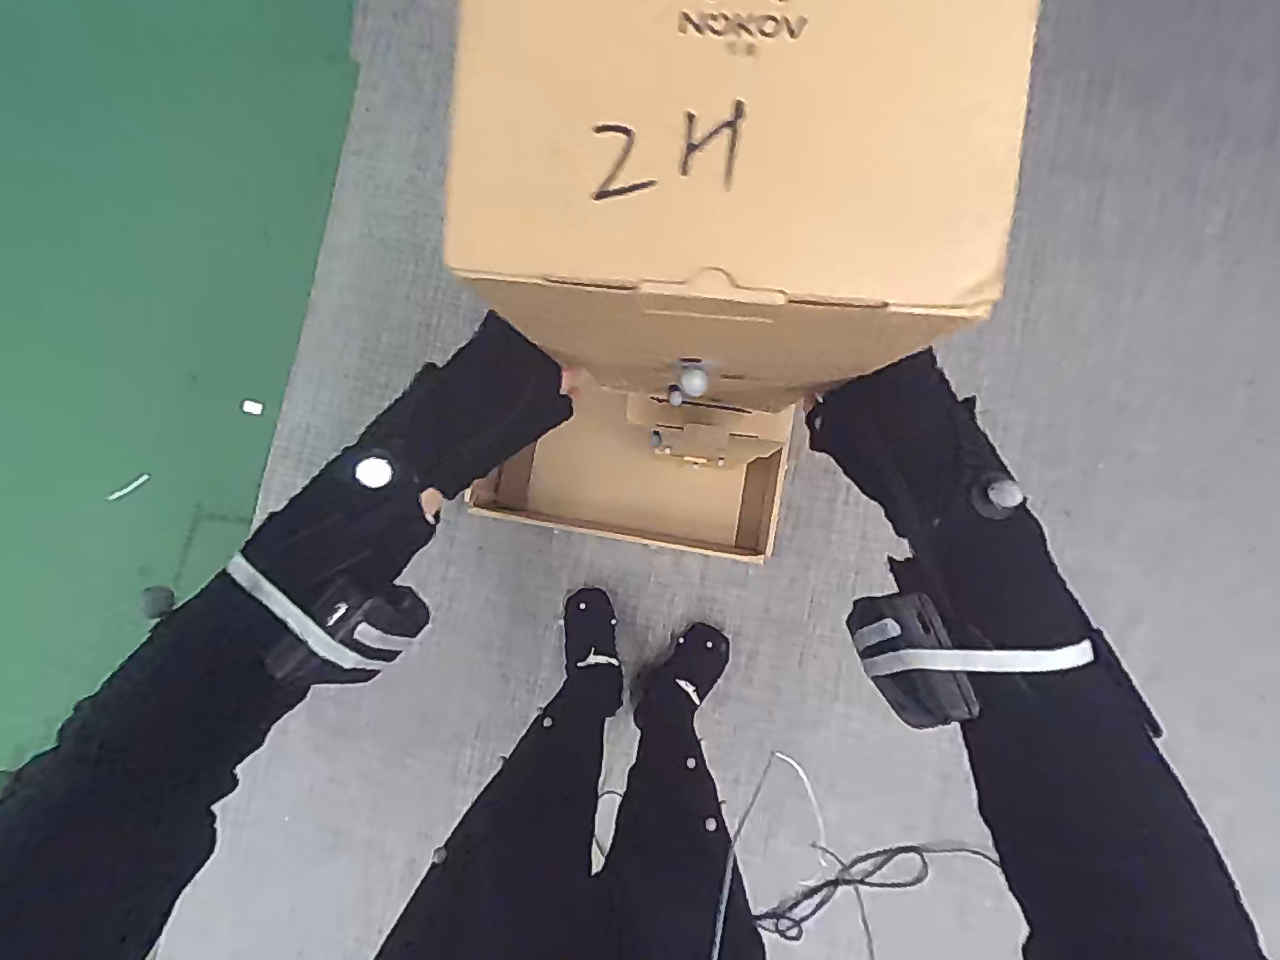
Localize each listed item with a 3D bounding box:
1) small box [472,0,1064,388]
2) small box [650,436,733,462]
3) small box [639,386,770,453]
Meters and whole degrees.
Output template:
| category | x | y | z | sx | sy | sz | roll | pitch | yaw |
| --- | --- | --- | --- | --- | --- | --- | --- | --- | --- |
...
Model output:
| category | x | y | z | sx | sy | sz | roll | pitch | yaw |
| --- | --- | --- | --- | --- | --- | --- | --- | --- | --- |
| small box | 0.043 | -0.146 | 0.238 | 0.168 | 0.176 | 0.179 | 7 | 93 | 3 |
| small box | 0.119 | -0.134 | 1.111 | 0.168 | 0.176 | 0.179 | 6 | 87 | 7 |
| small box | 0.101 | -0.140 | 0.782 | 0.168 | 0.176 | 0.179 | 11 | 89 | 5 |
